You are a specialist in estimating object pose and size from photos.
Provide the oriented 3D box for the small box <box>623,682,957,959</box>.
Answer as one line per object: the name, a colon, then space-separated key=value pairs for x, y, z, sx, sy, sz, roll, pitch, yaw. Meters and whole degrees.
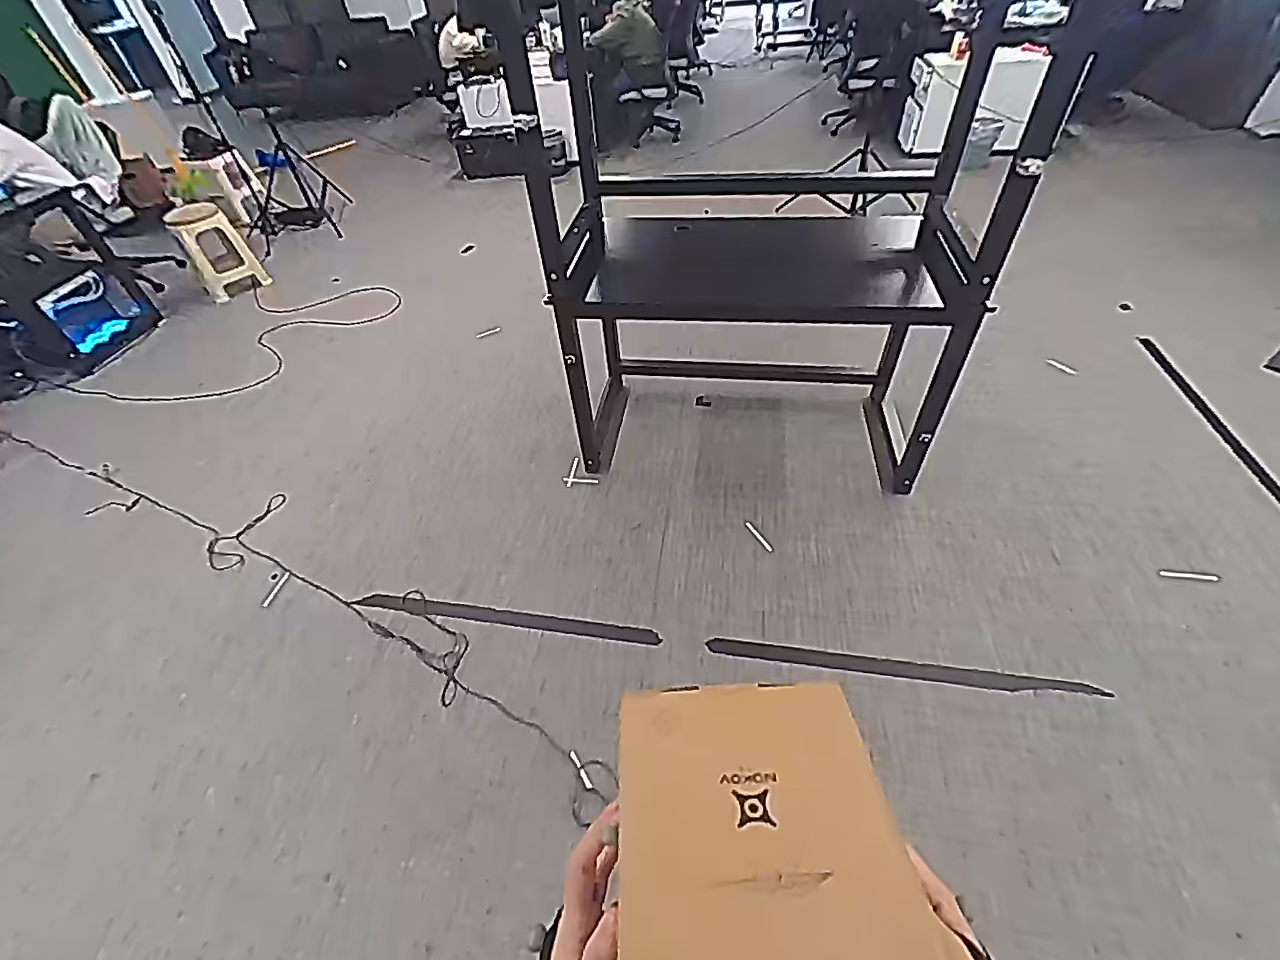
small box: x=0.074 y=0.267 z=0.371 sx=0.168 sy=0.176 sz=0.179 roll=-3 pitch=30 yaw=0
